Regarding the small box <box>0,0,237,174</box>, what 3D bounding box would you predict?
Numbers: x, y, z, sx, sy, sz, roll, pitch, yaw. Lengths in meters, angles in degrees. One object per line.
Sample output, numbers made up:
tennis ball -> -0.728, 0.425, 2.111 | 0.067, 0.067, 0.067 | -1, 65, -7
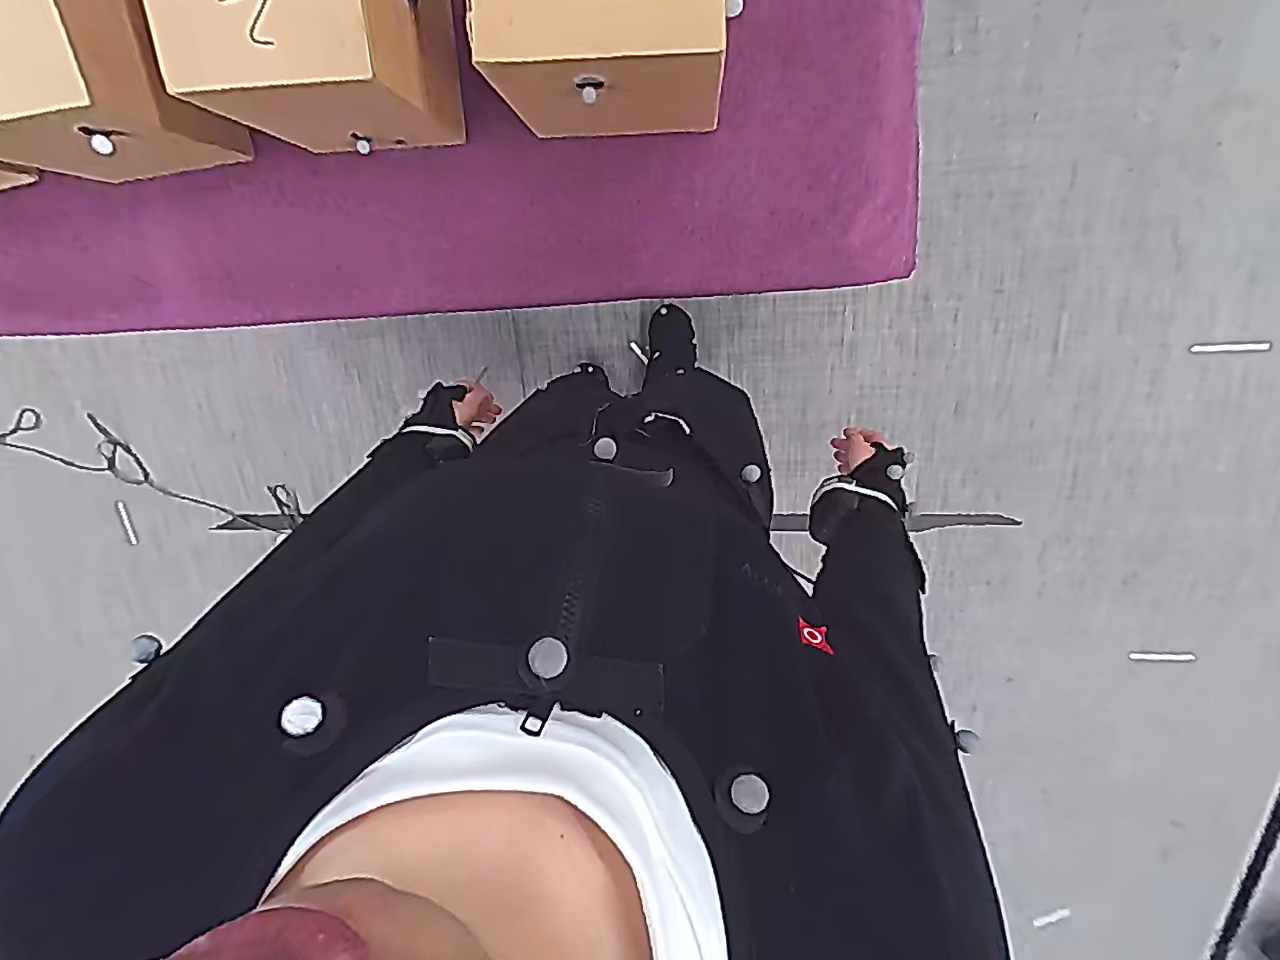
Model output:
small box -> -0.501, -0.384, 0.472 | 0.179, 0.176, 0.168 | -4, 107, 7

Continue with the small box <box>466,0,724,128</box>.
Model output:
small box -> -0.023, -0.392, 0.418 | 0.179, 0.176, 0.168 | 1, 107, 5
